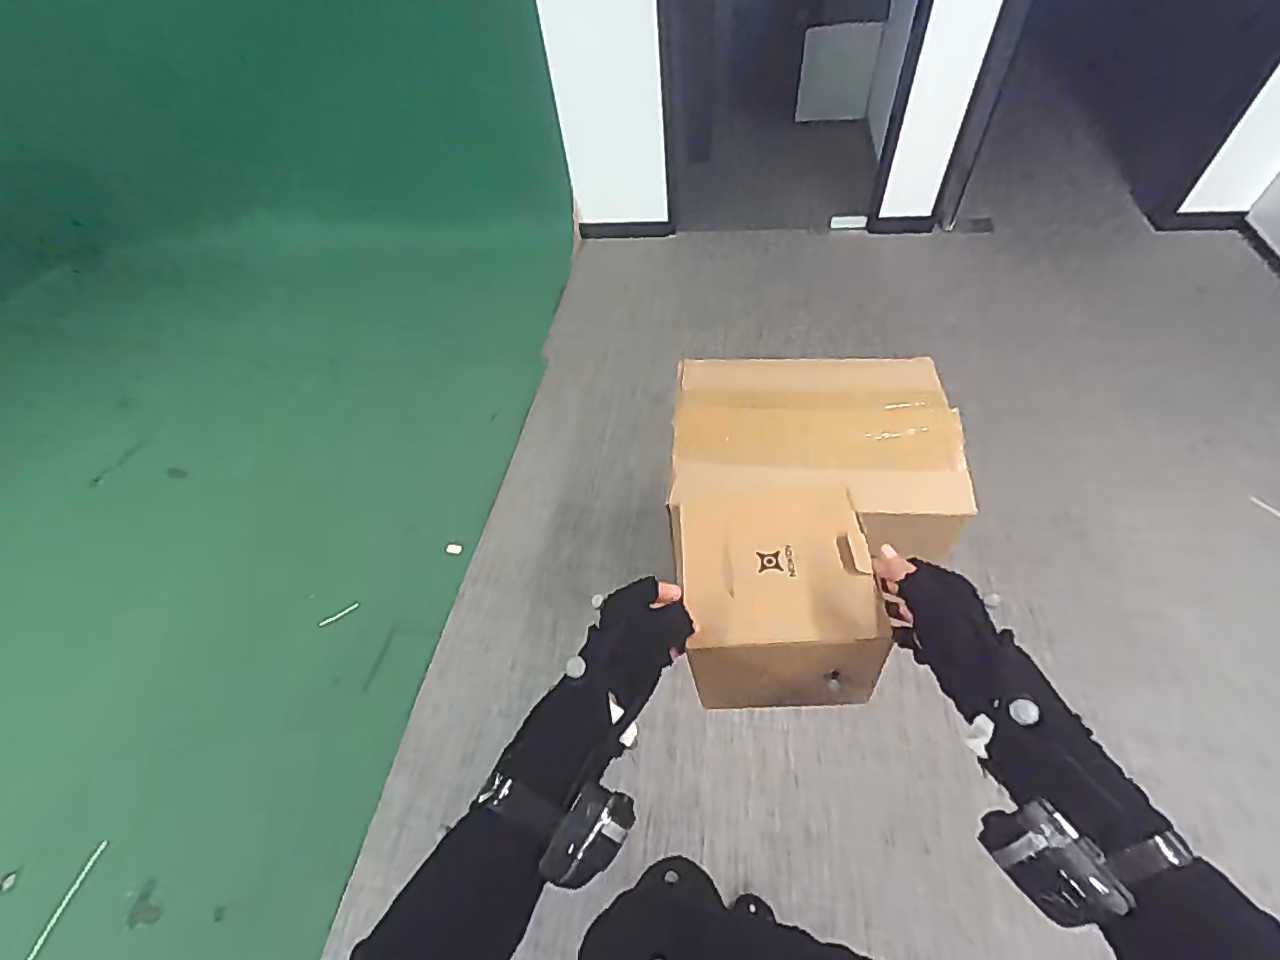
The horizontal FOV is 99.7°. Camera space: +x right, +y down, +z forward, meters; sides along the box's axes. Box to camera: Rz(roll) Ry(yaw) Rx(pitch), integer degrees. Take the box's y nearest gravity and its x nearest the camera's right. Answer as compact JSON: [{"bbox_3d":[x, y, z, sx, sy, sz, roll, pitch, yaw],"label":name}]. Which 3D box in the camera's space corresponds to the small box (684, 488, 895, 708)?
[{"bbox_3d":[0.145,0.131,0.576,0.179,0.176,0.168,-7,48,8],"label":"small box"}]
